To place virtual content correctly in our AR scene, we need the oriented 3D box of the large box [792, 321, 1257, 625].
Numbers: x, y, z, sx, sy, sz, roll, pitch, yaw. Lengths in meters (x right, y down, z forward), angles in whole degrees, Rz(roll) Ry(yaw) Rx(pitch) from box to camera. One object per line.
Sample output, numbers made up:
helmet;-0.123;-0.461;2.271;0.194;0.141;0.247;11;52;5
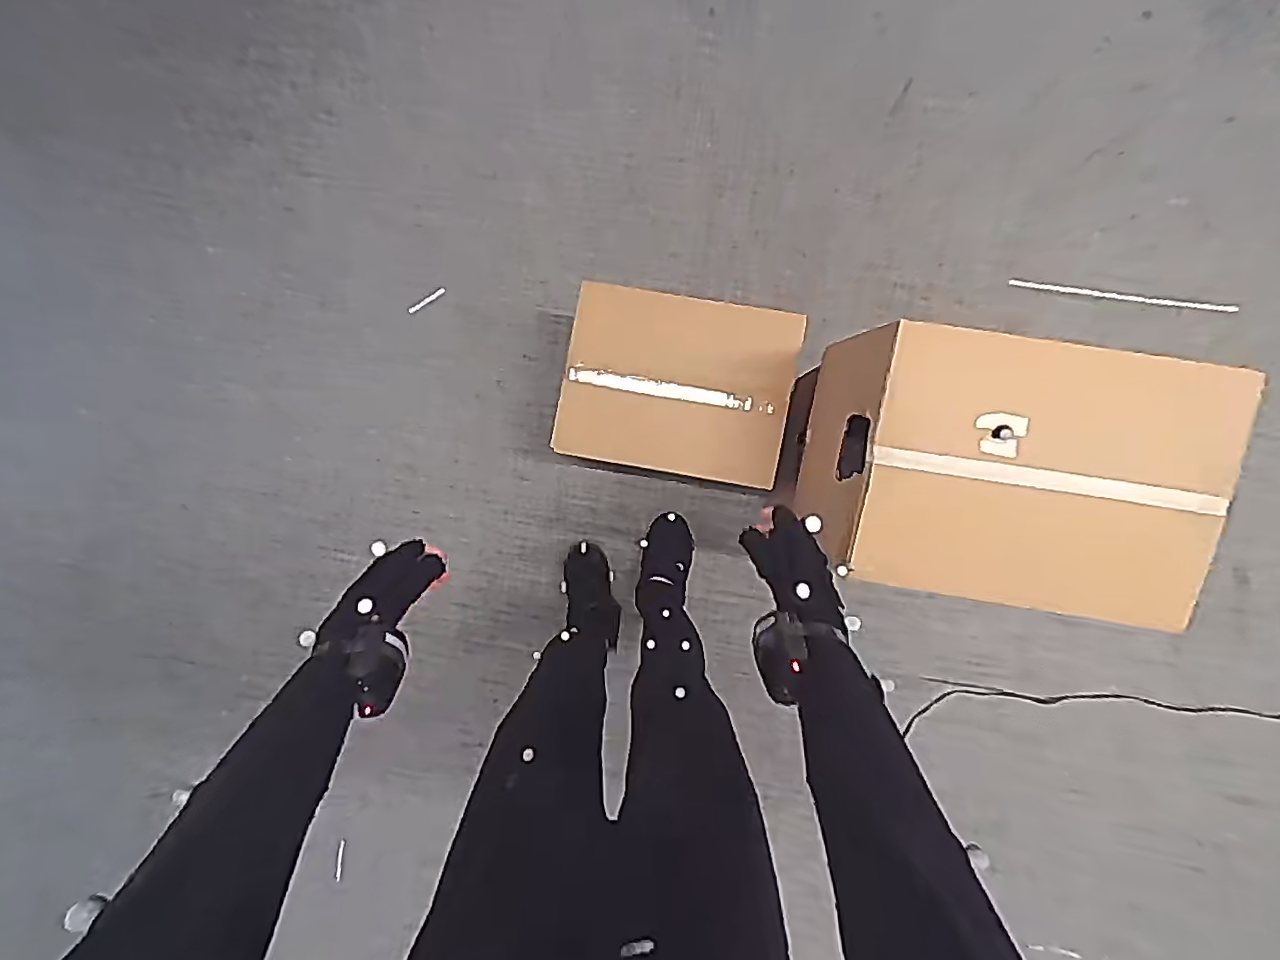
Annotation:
large box;0.470;-0.026;0.769;0.408;0.320;0.320;9;98;3
